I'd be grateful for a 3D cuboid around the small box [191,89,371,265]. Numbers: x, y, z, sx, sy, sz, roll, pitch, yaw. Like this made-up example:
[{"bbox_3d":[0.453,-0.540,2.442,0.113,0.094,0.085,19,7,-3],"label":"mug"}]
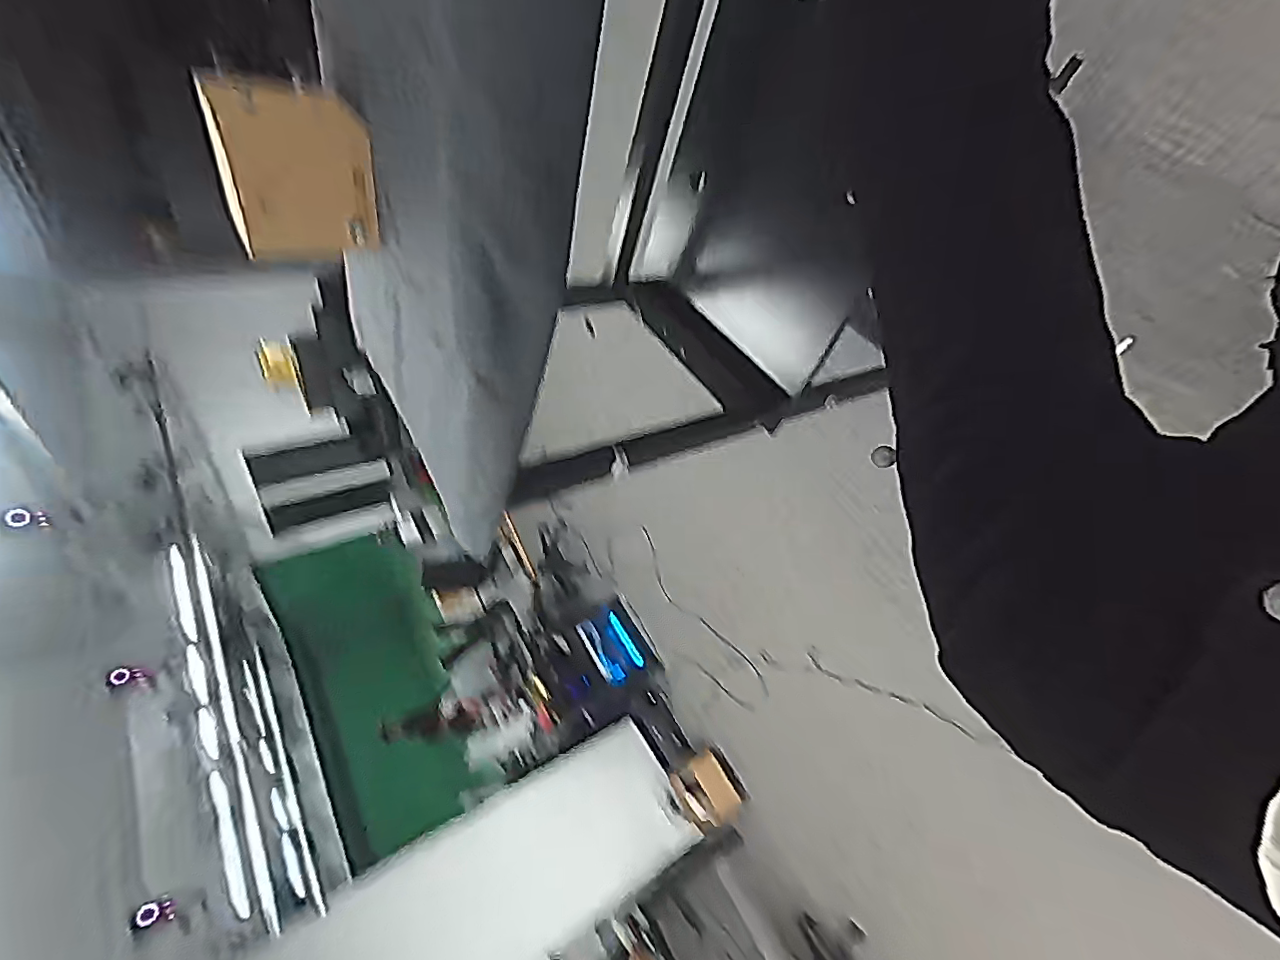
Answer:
[{"bbox_3d":[-0.493,-0.427,0.766,0.179,0.176,0.168,50,141,31],"label":"small box"}]
